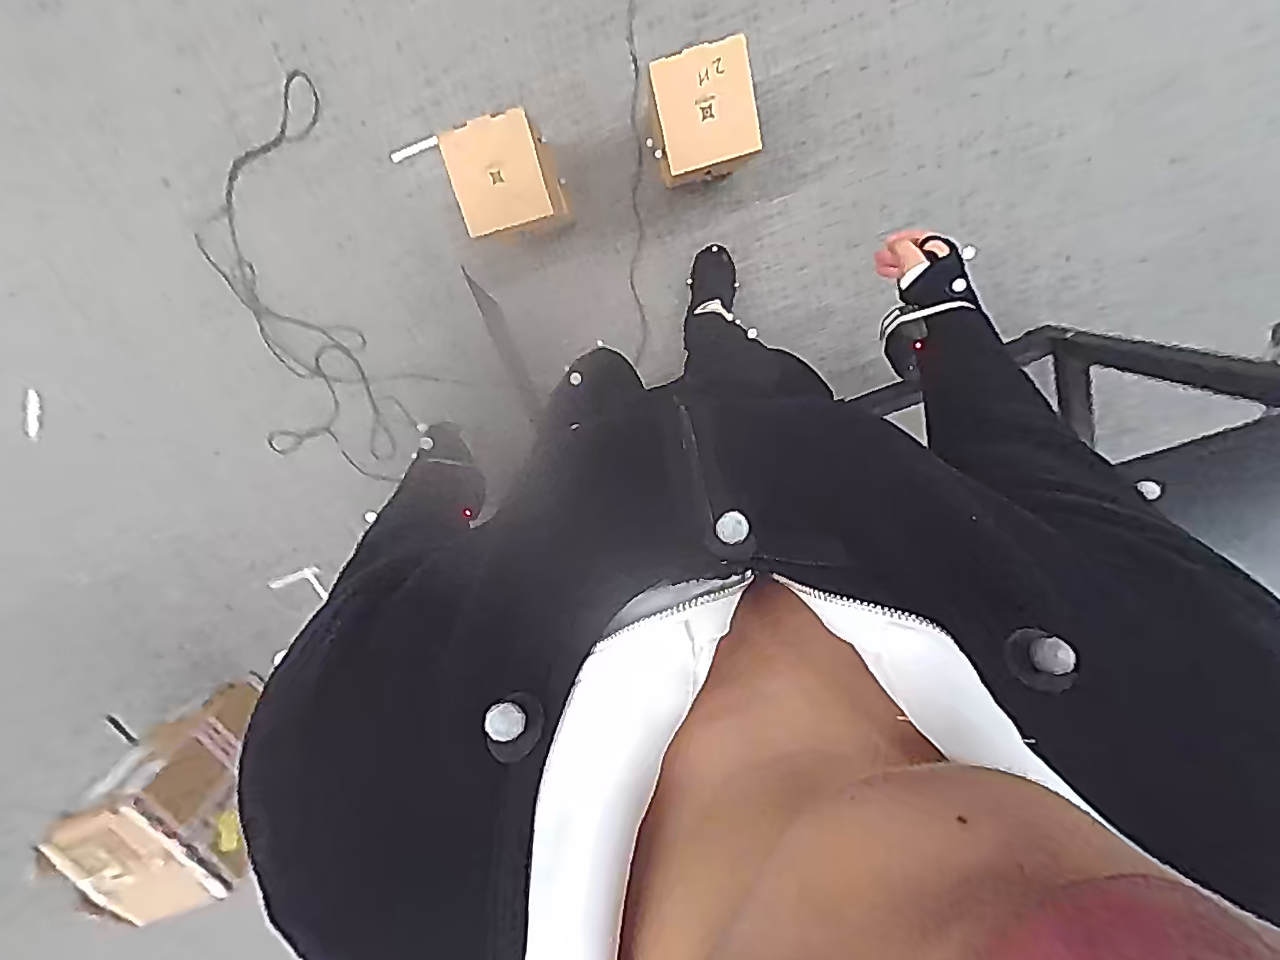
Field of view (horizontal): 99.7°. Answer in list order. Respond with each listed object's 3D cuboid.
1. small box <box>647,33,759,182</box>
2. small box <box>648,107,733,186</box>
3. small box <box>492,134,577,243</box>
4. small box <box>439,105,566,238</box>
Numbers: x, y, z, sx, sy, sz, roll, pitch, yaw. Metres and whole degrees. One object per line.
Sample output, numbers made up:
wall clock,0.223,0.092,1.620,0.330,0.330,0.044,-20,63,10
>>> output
small box,0.112,-0.670,1.000,0.168,0.176,0.179,-14,111,5
small box,0.115,-0.741,1.149,0.179,0.176,0.168,-11,111,5
small box,-0.256,-0.637,1.197,0.179,0.176,0.168,-18,110,8
small box,-0.254,-0.580,1.042,0.168,0.176,0.179,-14,112,7
